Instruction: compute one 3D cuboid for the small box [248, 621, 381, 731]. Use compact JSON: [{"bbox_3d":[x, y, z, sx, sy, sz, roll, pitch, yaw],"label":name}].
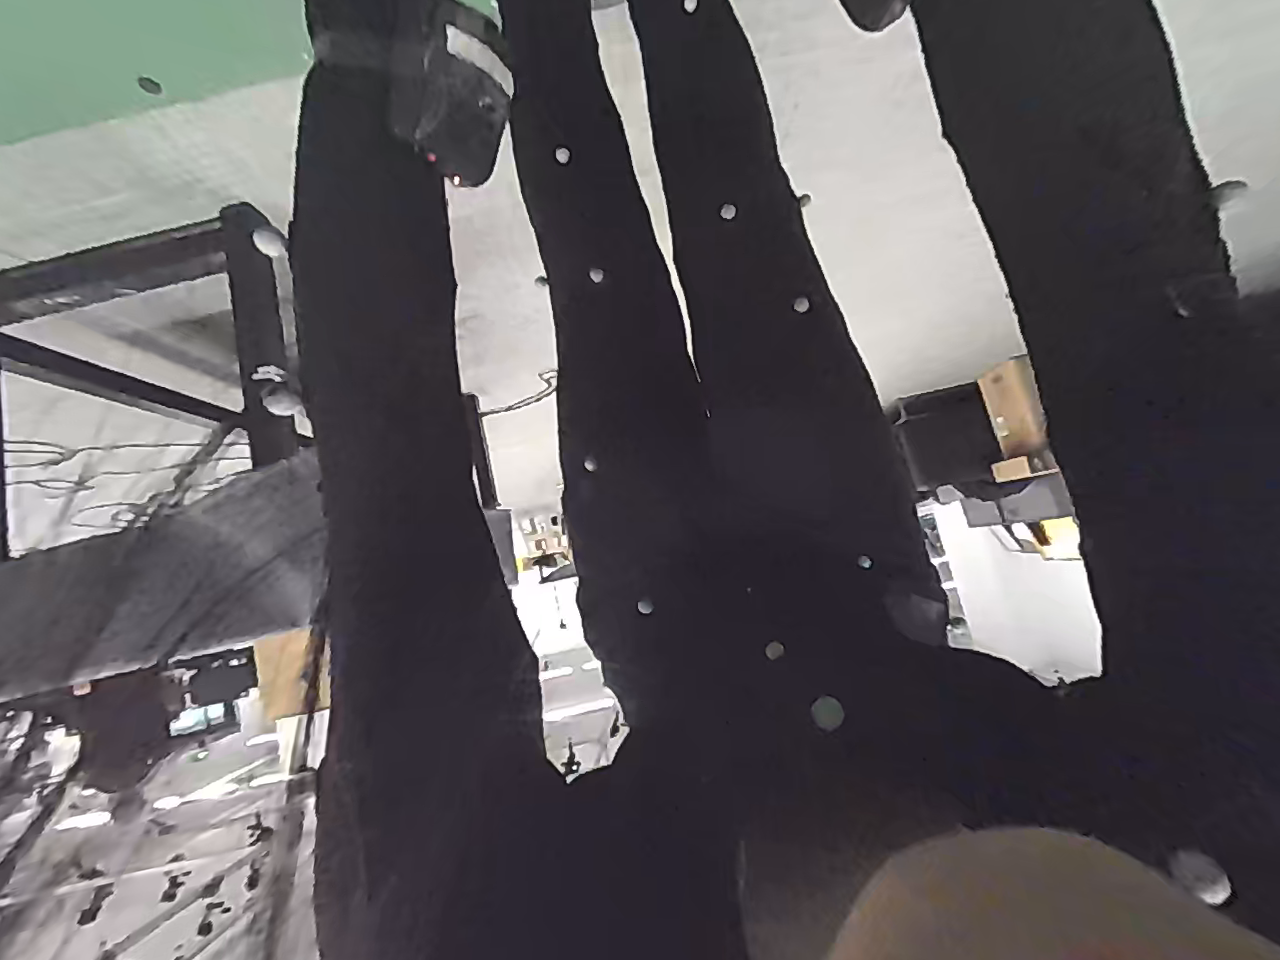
[{"bbox_3d":[-0.689,0.403,1.148,0.179,0.176,0.168,-14,171,3],"label":"small box"}]
